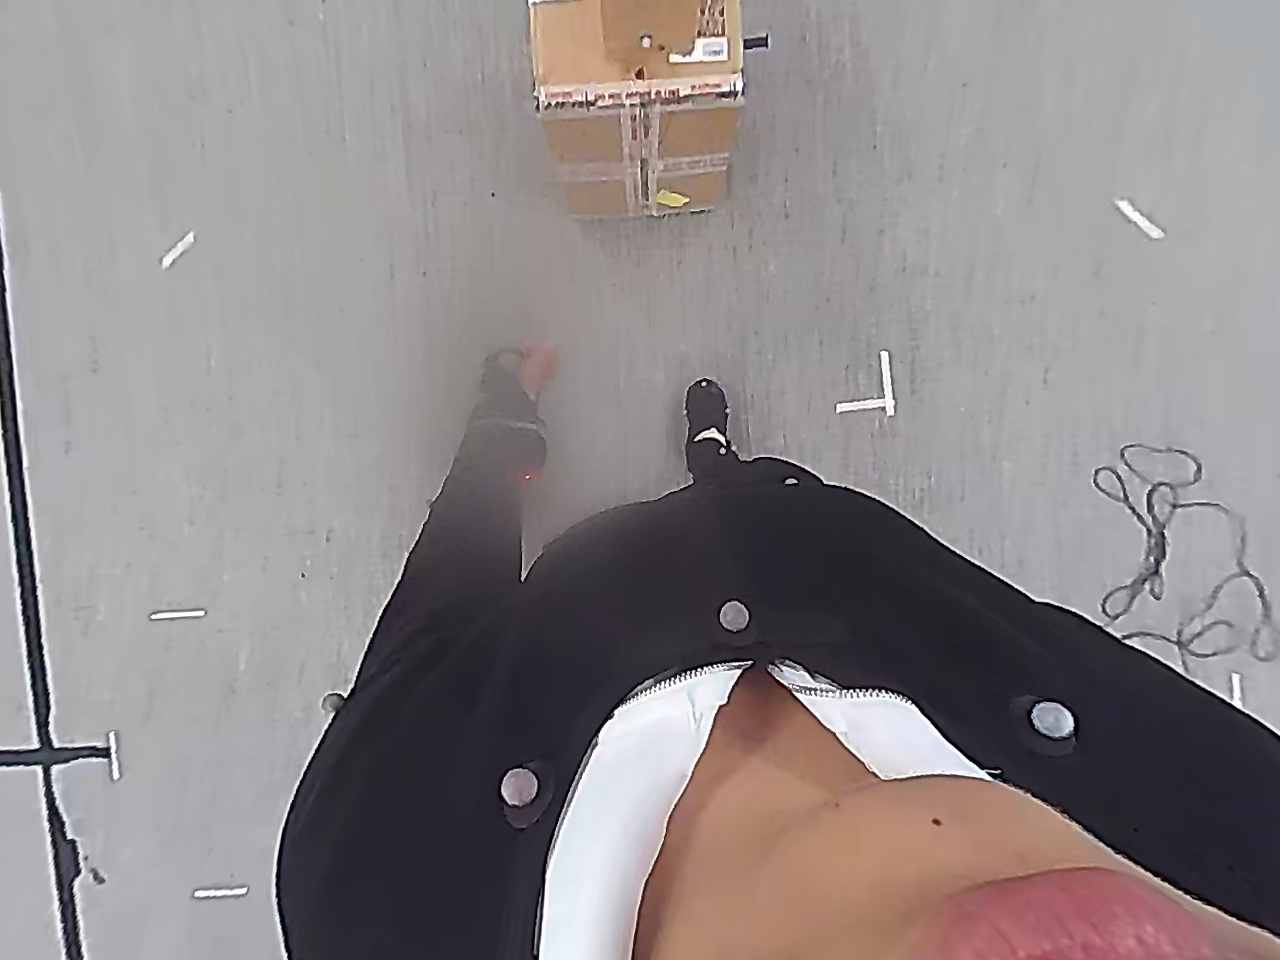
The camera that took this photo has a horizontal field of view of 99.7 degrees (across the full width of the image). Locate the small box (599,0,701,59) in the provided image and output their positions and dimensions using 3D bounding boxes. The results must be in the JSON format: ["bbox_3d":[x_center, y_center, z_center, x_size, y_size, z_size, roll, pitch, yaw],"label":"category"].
[{"bbox_3d":[0.012,-0.851,0.897,0.168,0.176,0.179,-4,95,1],"label":"small box"}]
